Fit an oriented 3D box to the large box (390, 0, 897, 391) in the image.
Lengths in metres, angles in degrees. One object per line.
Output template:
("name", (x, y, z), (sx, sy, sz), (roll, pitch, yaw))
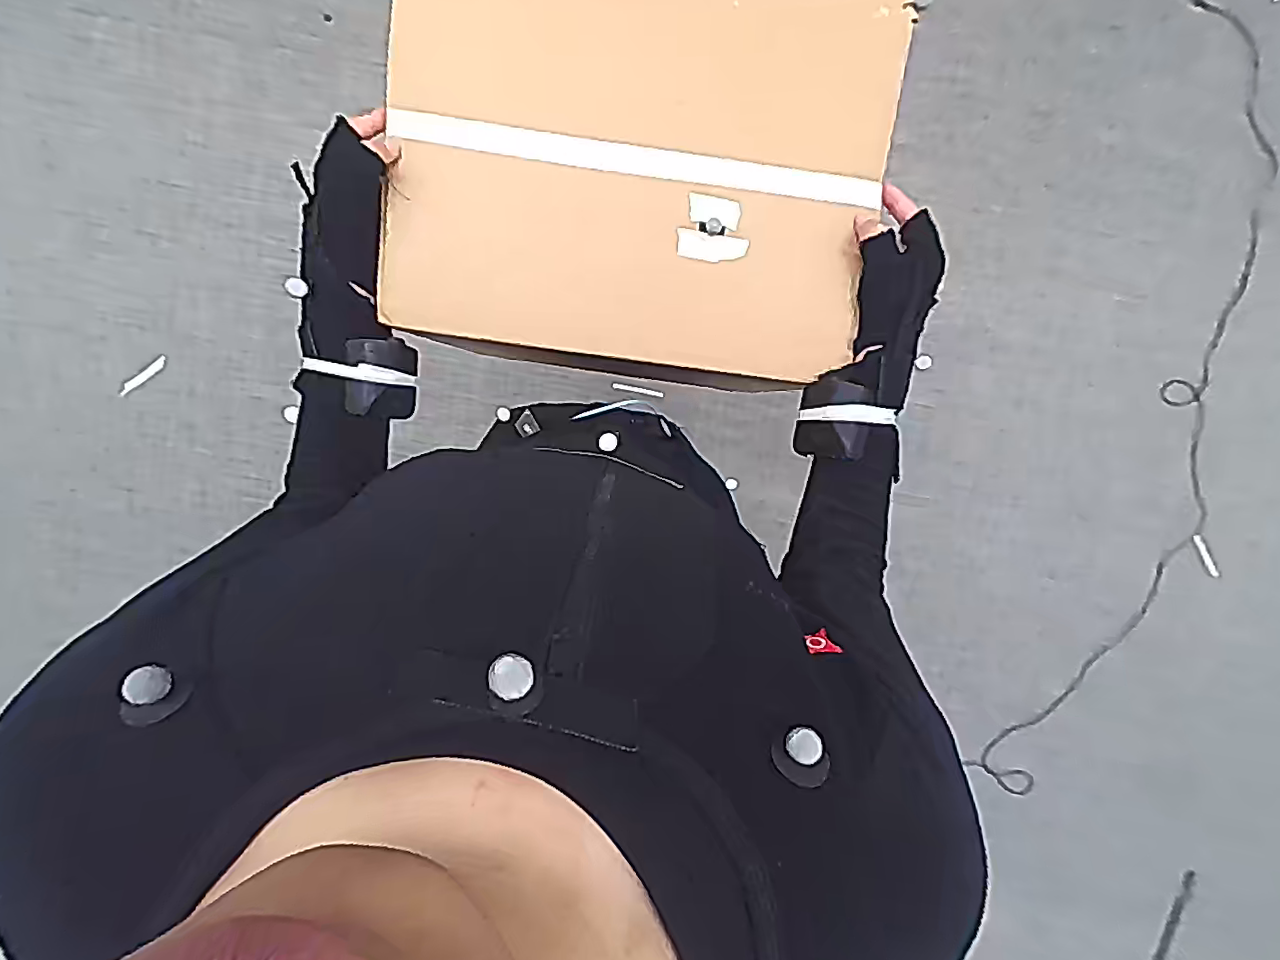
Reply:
("large box", (-0.010, -0.277, 0.600), (0.408, 0.320, 0.320), (7, 99, -4))
